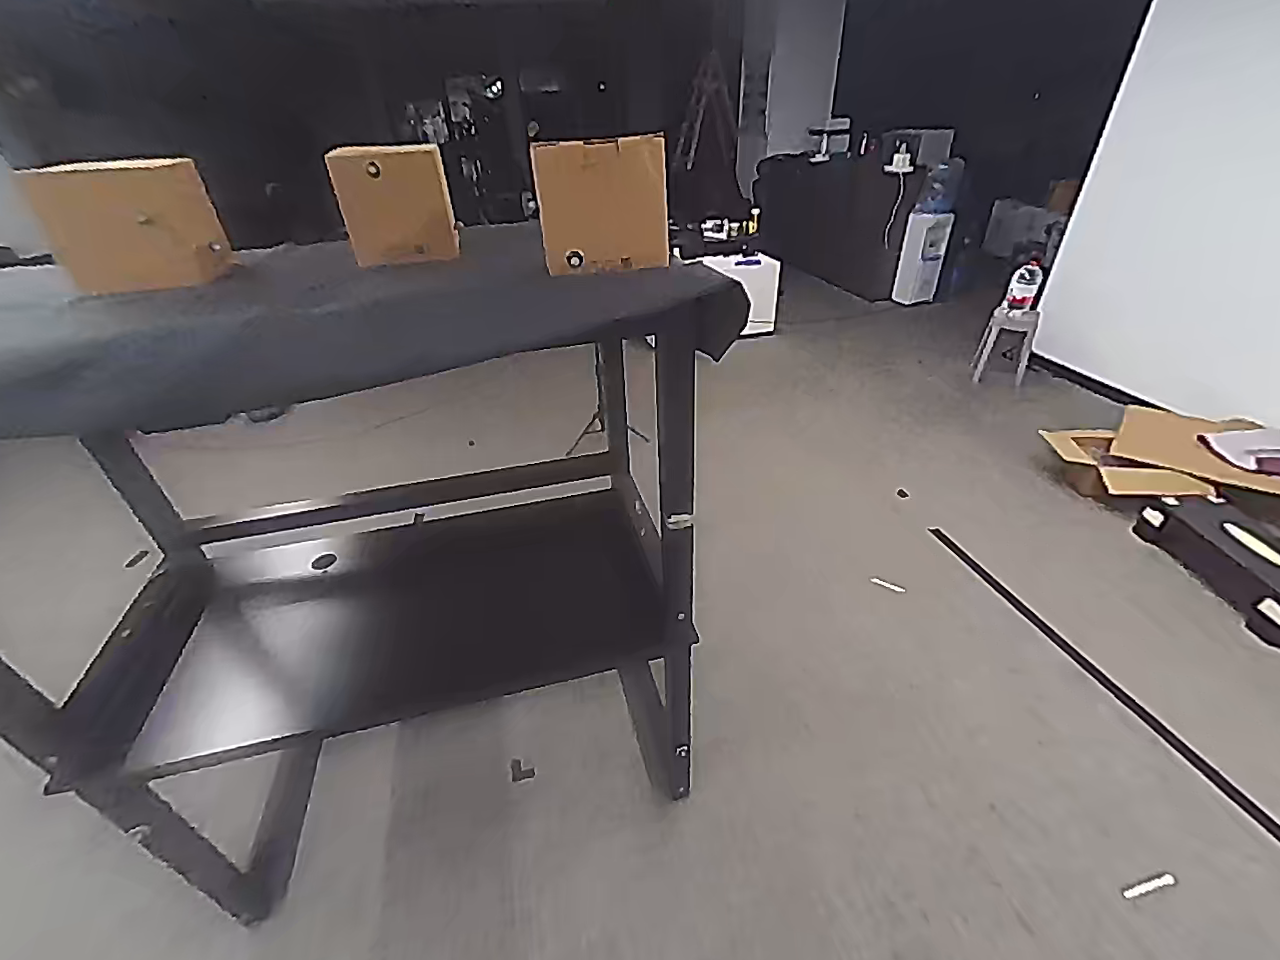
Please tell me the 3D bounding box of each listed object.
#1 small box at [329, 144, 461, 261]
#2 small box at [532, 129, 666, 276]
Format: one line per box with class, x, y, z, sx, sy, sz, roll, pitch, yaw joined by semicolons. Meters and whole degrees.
small box;-0.420;-0.493;0.959;0.168;0.176;0.179;-11;35;-11
small box;-0.060;-0.399;0.784;0.168;0.176;0.179;-9;31;-8
